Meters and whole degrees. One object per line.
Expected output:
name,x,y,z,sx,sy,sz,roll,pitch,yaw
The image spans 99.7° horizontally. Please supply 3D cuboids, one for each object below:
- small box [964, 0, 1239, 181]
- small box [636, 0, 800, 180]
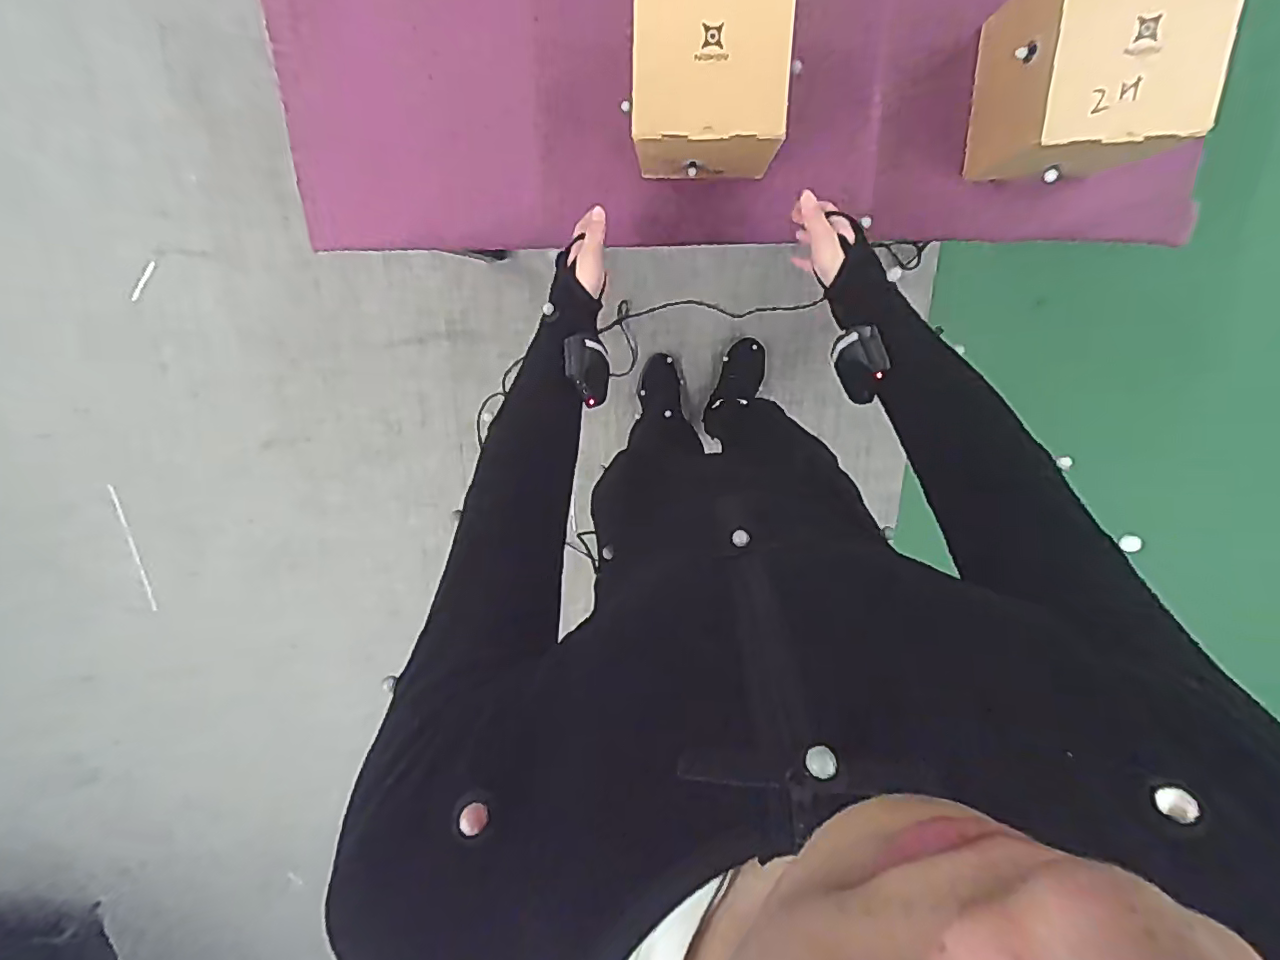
small box,0.499,-0.454,0.612,0.168,0.176,0.179,0,110,4
small box,0.080,-0.469,0.632,0.168,0.176,0.179,1,109,2
